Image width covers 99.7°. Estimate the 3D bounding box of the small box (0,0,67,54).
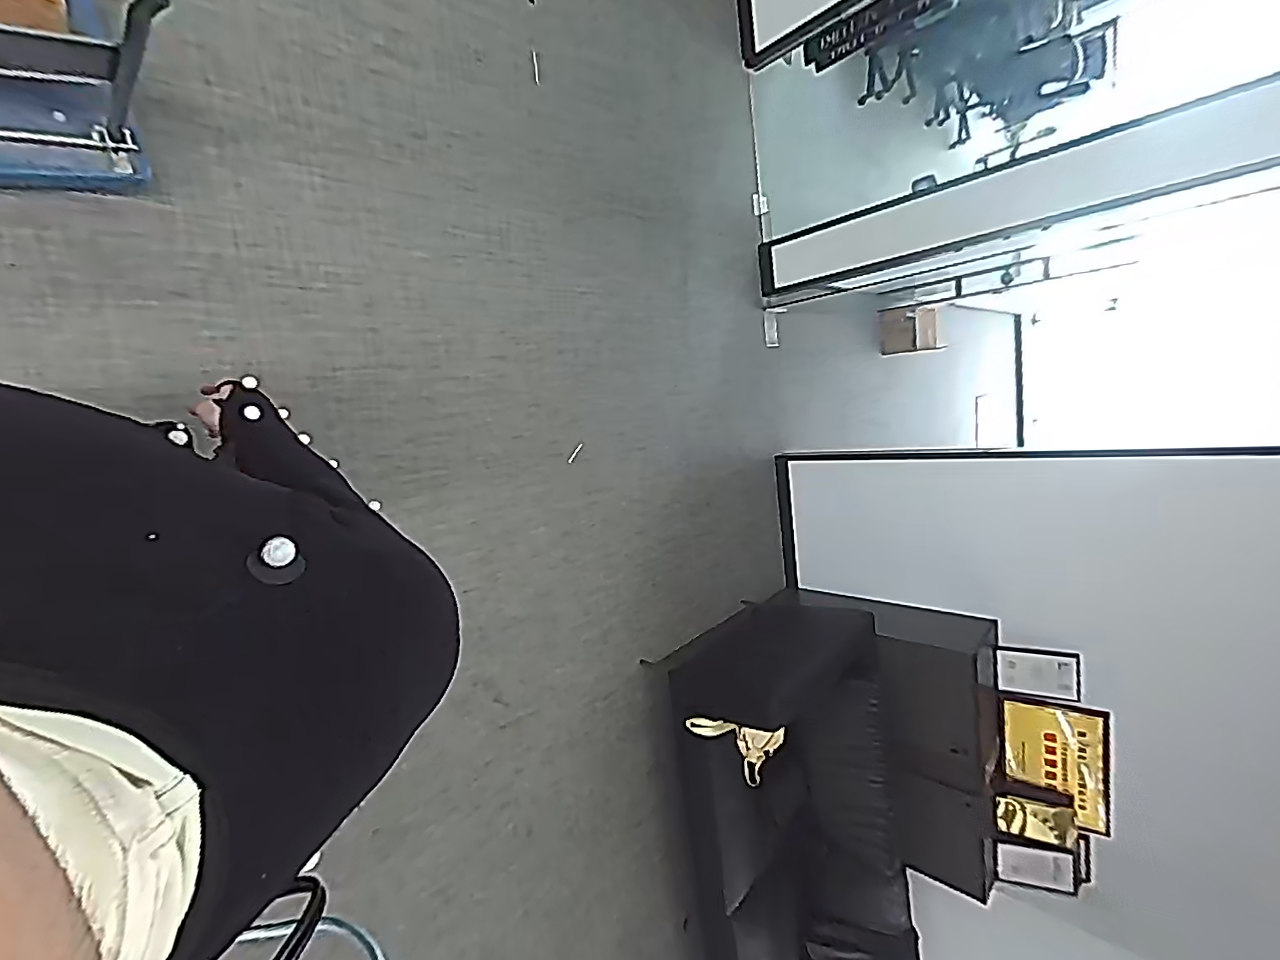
[{"bbox_3d":[-1.095,-0.862,0.893,0.168,0.176,0.179,-23,108,-43],"label":"small box"}]
